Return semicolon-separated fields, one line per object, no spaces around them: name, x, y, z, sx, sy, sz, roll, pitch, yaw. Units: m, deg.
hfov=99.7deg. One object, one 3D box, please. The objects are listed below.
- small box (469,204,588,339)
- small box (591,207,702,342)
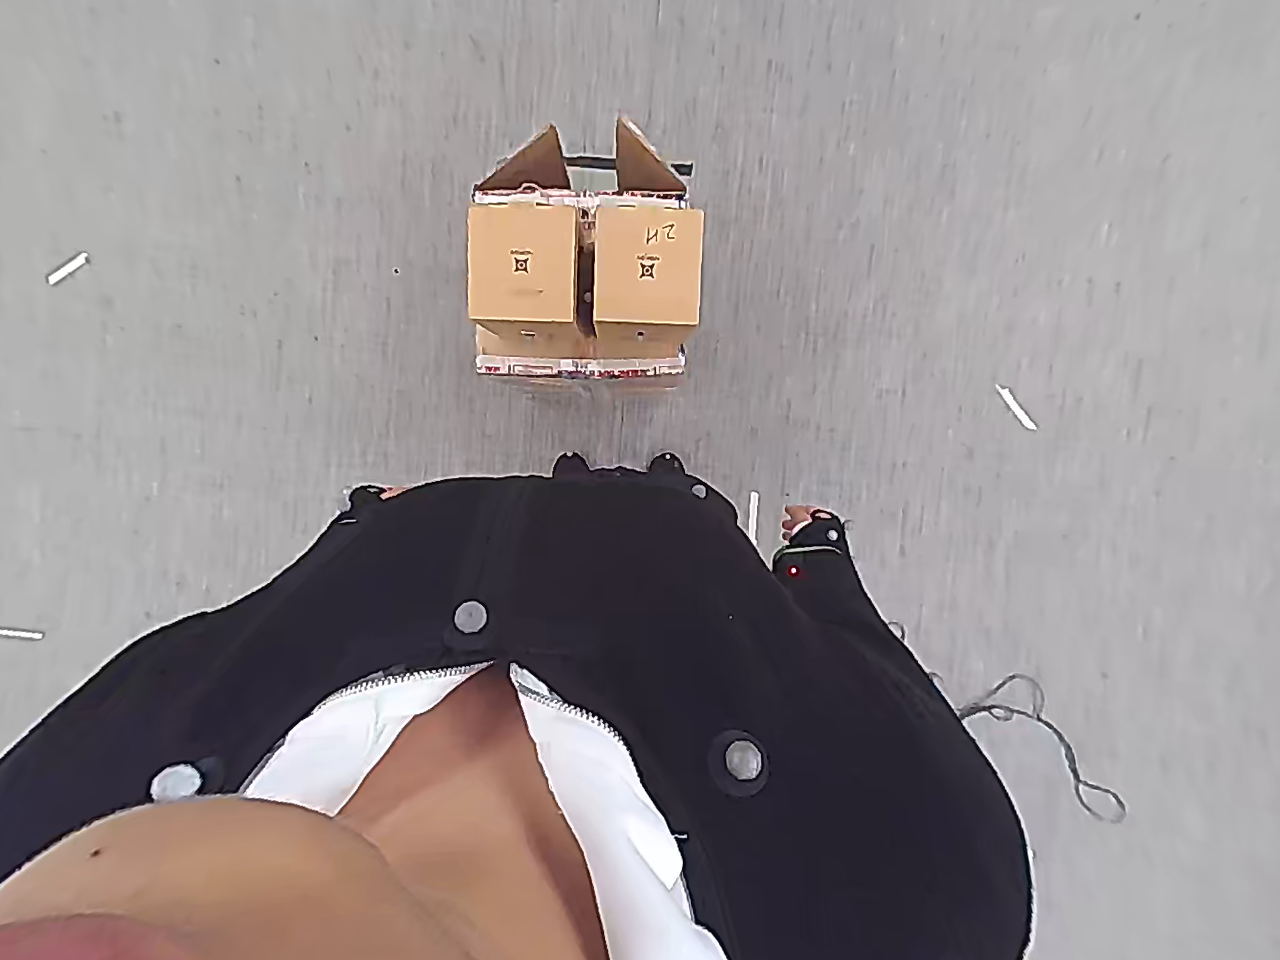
small box;-0.180;-0.340;0.908;0.168;0.176;0.179;1;97;1
small box;0.008;-0.333;0.910;0.168;0.176;0.179;2;95;-2
